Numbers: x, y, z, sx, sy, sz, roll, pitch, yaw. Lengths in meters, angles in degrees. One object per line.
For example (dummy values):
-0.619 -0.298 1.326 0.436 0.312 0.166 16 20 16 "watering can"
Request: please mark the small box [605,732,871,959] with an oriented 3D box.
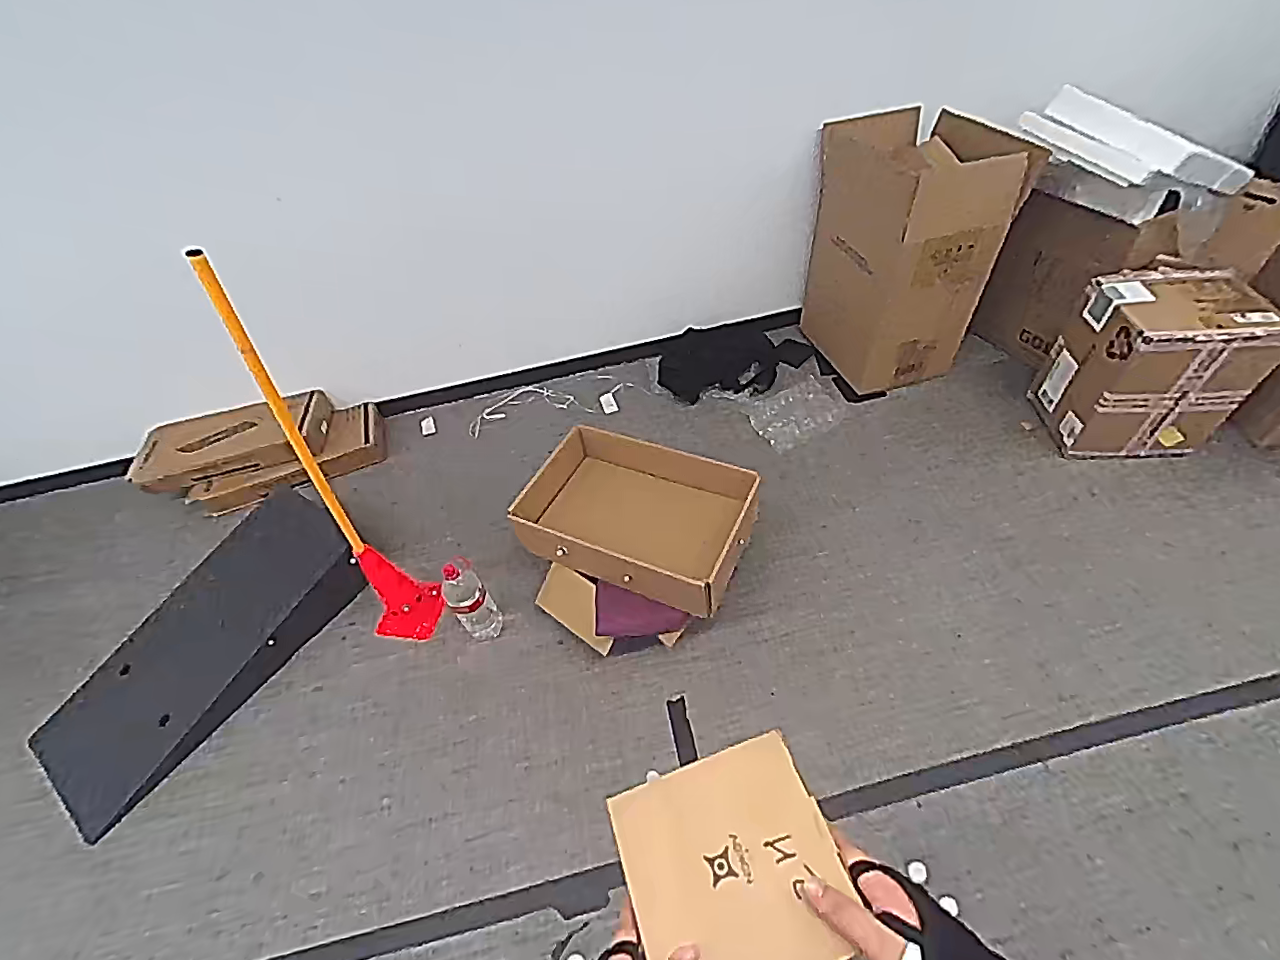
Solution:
0.084 0.373 0.511 0.179 0.176 0.168 -19 49 -6 "small box"
